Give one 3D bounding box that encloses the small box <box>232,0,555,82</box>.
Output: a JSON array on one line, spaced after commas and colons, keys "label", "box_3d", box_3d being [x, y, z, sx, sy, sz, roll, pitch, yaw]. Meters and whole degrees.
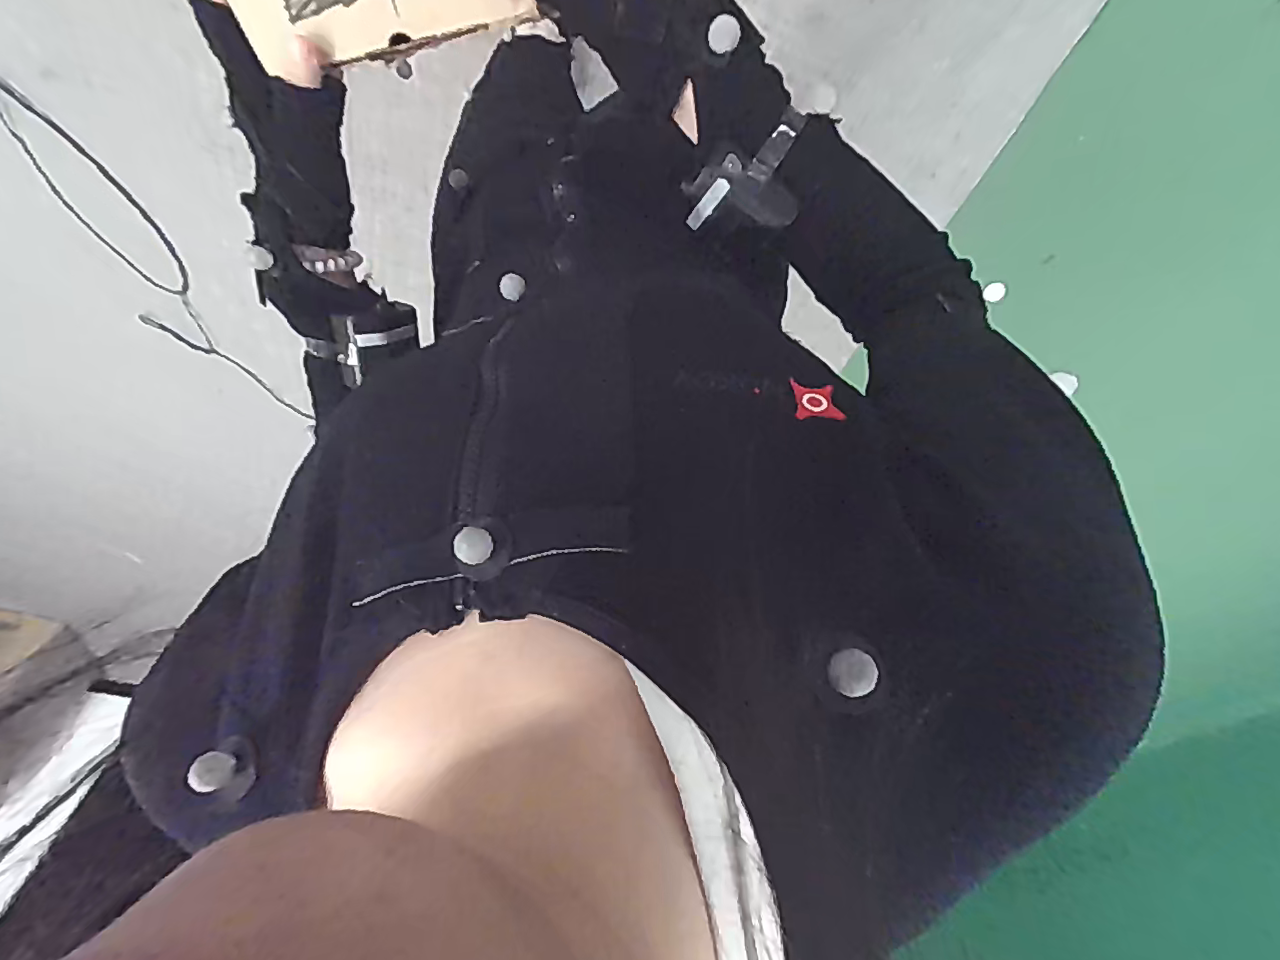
[{"label": "small box", "box_3d": [-0.152, -0.364, 0.311, 0.168, 0.176, 0.179, -9, 131, 8]}]
